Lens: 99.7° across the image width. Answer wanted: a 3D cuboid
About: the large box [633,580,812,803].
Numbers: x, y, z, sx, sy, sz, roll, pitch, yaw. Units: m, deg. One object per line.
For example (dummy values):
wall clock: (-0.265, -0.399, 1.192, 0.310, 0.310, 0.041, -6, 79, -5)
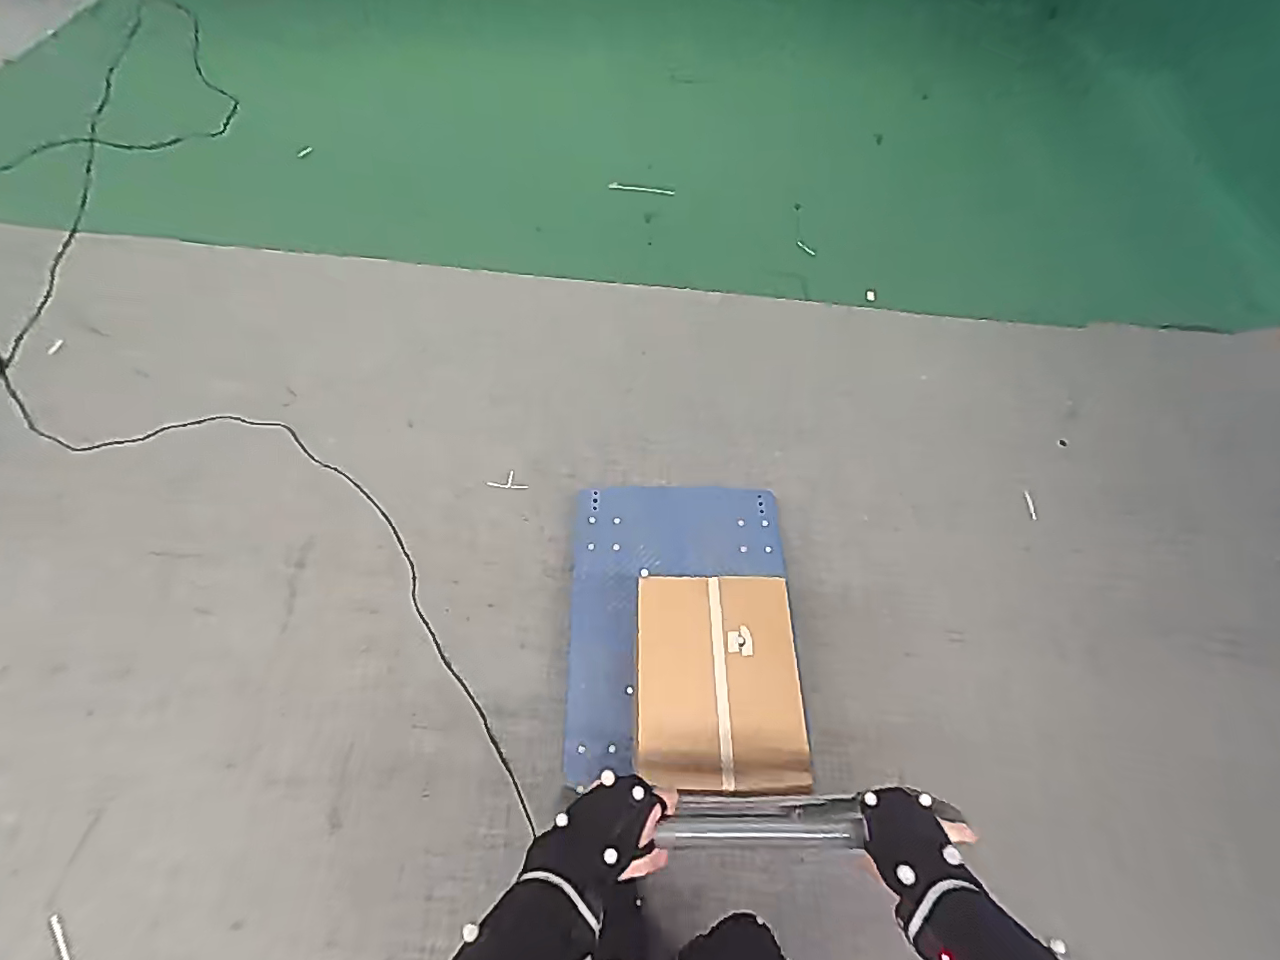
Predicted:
large box: (0.143, 0.463, 1.176, 0.320, 0.320, 0.408, 1, 59, -3)
